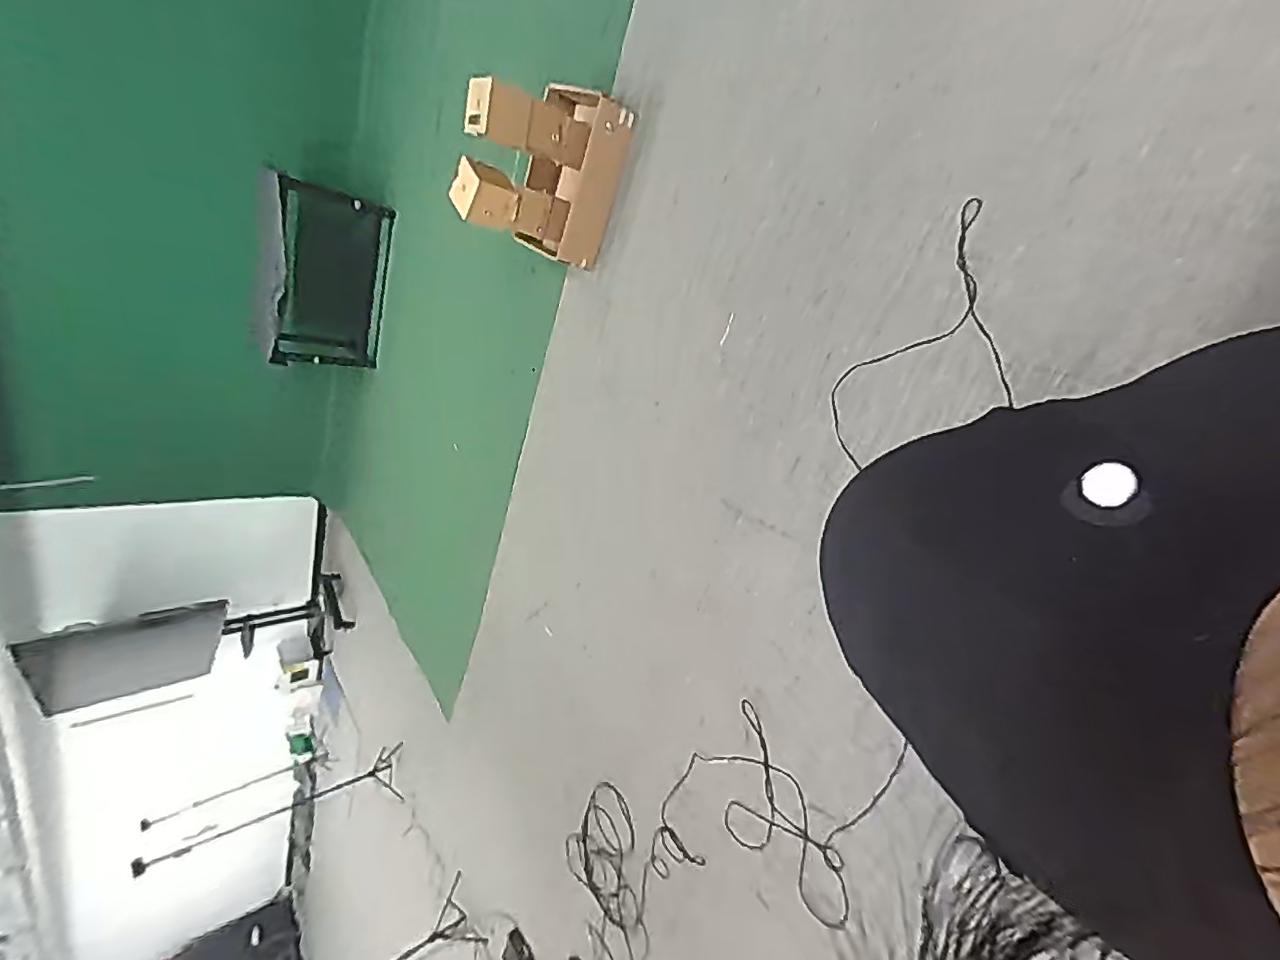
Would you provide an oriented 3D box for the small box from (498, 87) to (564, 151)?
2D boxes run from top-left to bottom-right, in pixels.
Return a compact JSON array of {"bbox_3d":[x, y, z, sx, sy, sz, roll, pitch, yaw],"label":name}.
[{"bbox_3d":[-0.421,-1.388,2.085,0.179,0.176,0.168,31,117,37],"label":"small box"}]

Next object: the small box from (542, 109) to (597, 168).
[{"bbox_3d":[-0.307,-1.401,2.201,0.179,0.176,0.168,43,122,34],"label":"small box"}]

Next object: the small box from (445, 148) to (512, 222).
[{"bbox_3d":[-0.611,-1.113,2.059,0.168,0.176,0.179,-49,60,35],"label":"small box"}]

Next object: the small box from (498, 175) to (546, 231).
[{"bbox_3d":[-0.503,-1.121,2.180,0.179,0.176,0.168,39,118,37],"label":"small box"}]

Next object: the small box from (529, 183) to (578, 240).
[{"bbox_3d":[-0.392,-1.139,2.300,0.179,0.176,0.168,37,117,37],"label":"small box"}]
